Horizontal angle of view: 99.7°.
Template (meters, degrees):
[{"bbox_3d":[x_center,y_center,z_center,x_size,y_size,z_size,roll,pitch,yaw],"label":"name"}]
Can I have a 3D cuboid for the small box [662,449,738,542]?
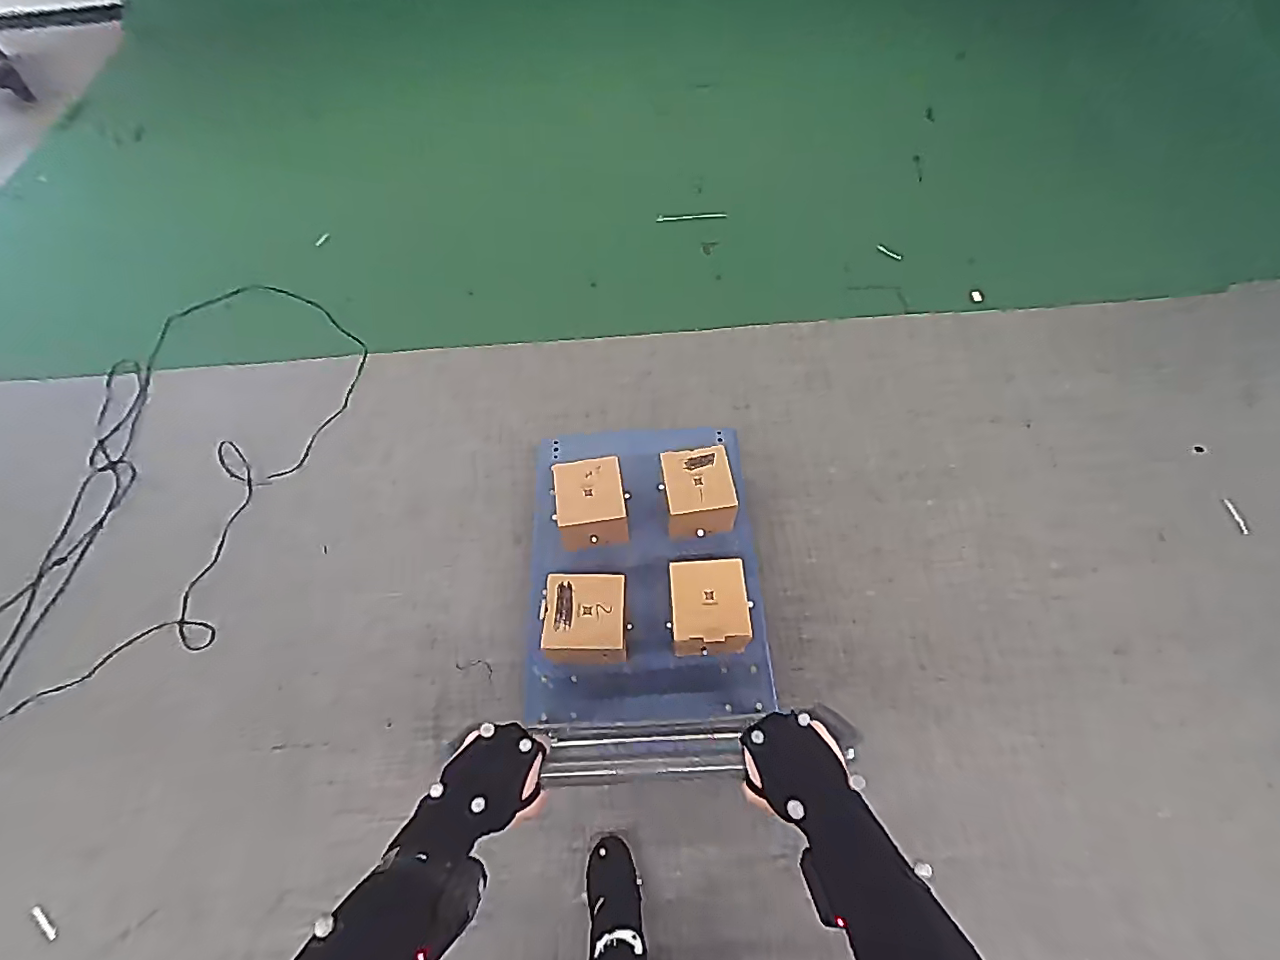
[{"bbox_3d":[0.147,0.042,1.396,0.168,0.176,0.179,-8,62,-1],"label":"small box"}]

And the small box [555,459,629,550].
[{"bbox_3d":[-0.121,0.070,1.391,0.168,0.176,0.179,-7,61,-3],"label":"small box"}]

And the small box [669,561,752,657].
[{"bbox_3d":[0.155,0.302,1.253,0.168,0.176,0.179,-3,61,1],"label":"small box"}]
